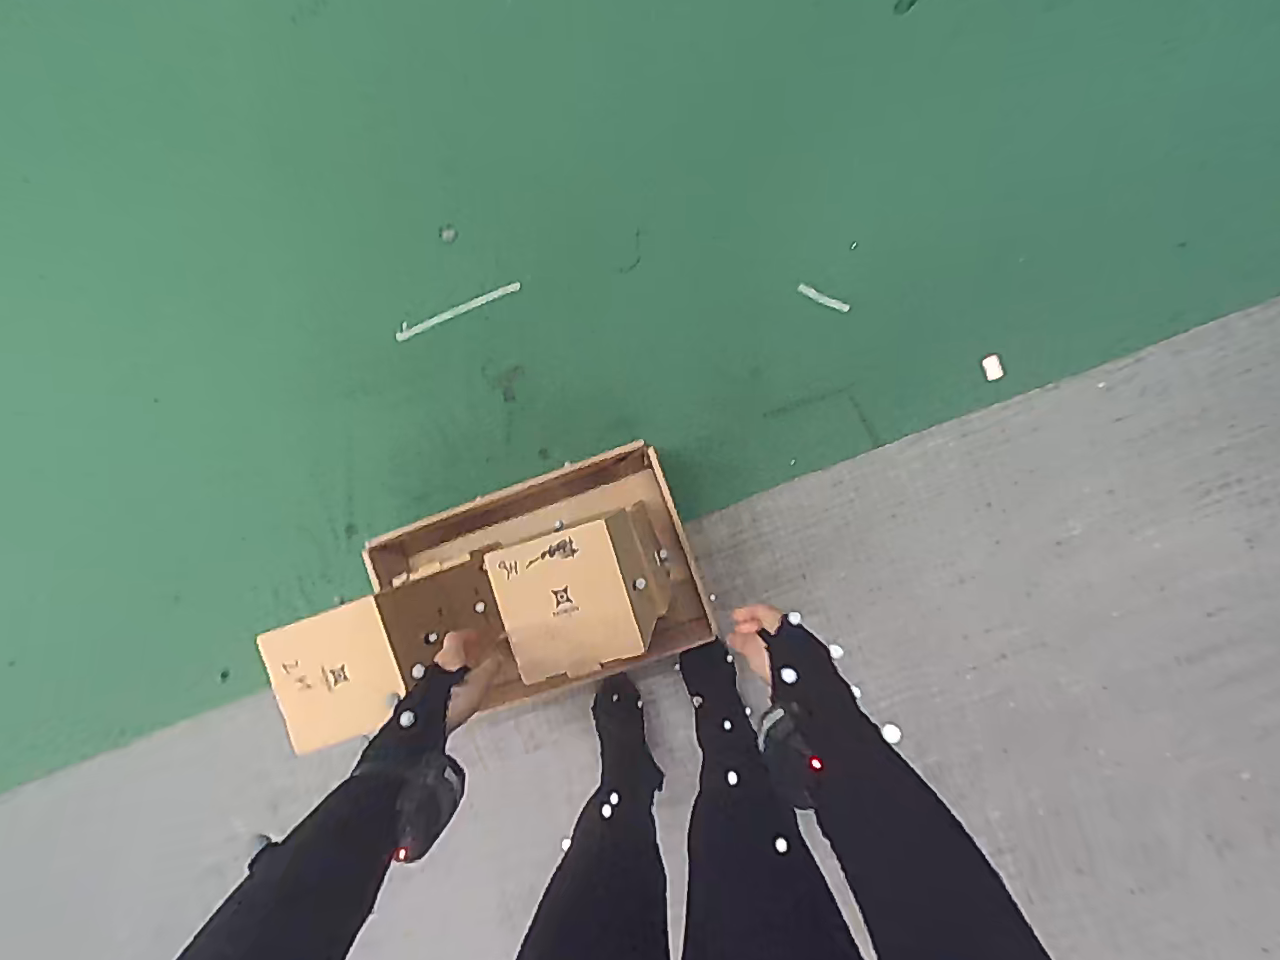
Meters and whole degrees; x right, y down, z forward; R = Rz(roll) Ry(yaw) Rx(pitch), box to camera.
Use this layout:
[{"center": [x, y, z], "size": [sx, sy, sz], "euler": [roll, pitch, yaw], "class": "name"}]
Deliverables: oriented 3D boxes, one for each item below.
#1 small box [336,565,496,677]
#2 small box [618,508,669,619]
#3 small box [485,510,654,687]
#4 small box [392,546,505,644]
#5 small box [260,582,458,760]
[{"center": [-0.381, 0.260, 0.944], "size": [0.179, 0.176, 0.168], "euler": [-20, 89, 4], "class": "small box"}, {"center": [-0.060, 0.157, 0.912], "size": [0.179, 0.176, 0.168], "euler": [-22, 90, 6], "class": "small box"}, {"center": [-0.085, 0.153, 0.750], "size": [0.168, 0.176, 0.179], "euler": [-18, 91, 7], "class": "small box"}, {"center": [-0.365, 0.249, 1.107], "size": [0.168, 0.176, 0.179], "euler": [-21, 89, 5], "class": "small box"}, {"center": [-0.385, 0.259, 0.778], "size": [0.179, 0.176, 0.168], "euler": [-21, 88, 5], "class": "small box"}]
